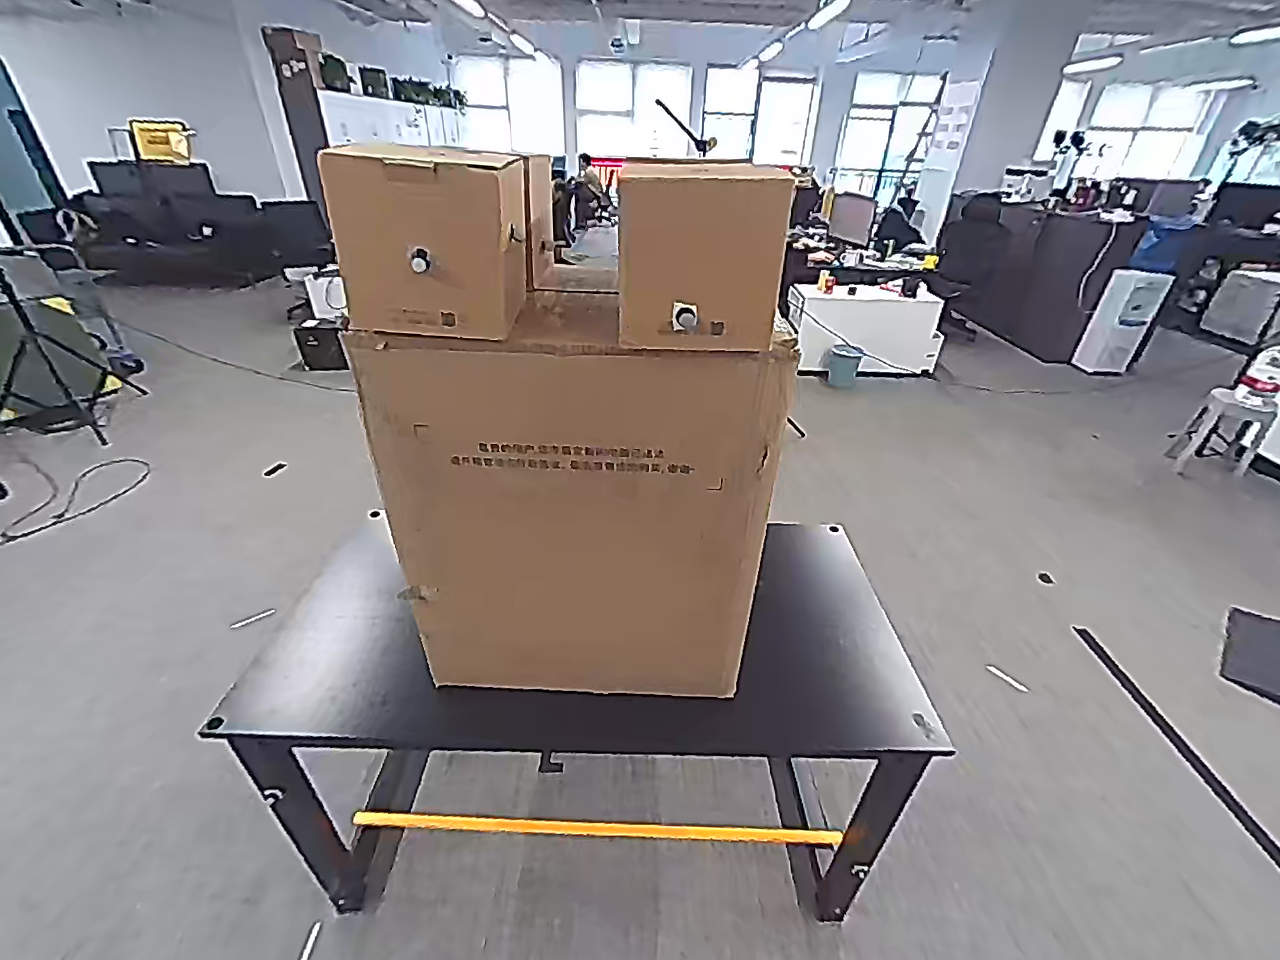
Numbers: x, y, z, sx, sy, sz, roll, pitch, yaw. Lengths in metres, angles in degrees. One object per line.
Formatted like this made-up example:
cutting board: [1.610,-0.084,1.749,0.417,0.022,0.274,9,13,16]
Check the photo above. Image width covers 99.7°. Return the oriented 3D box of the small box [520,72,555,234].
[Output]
small box: [-0.211,-0.420,0.701,0.179,0.176,0.168,4,32,0]

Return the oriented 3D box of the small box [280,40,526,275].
small box: [-0.204,-0.310,0.529,0.168,0.176,0.179,2,35,-6]

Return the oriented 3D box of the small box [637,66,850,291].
small box: [0.081,-0.294,0.530,0.168,0.176,0.179,-1,35,0]
